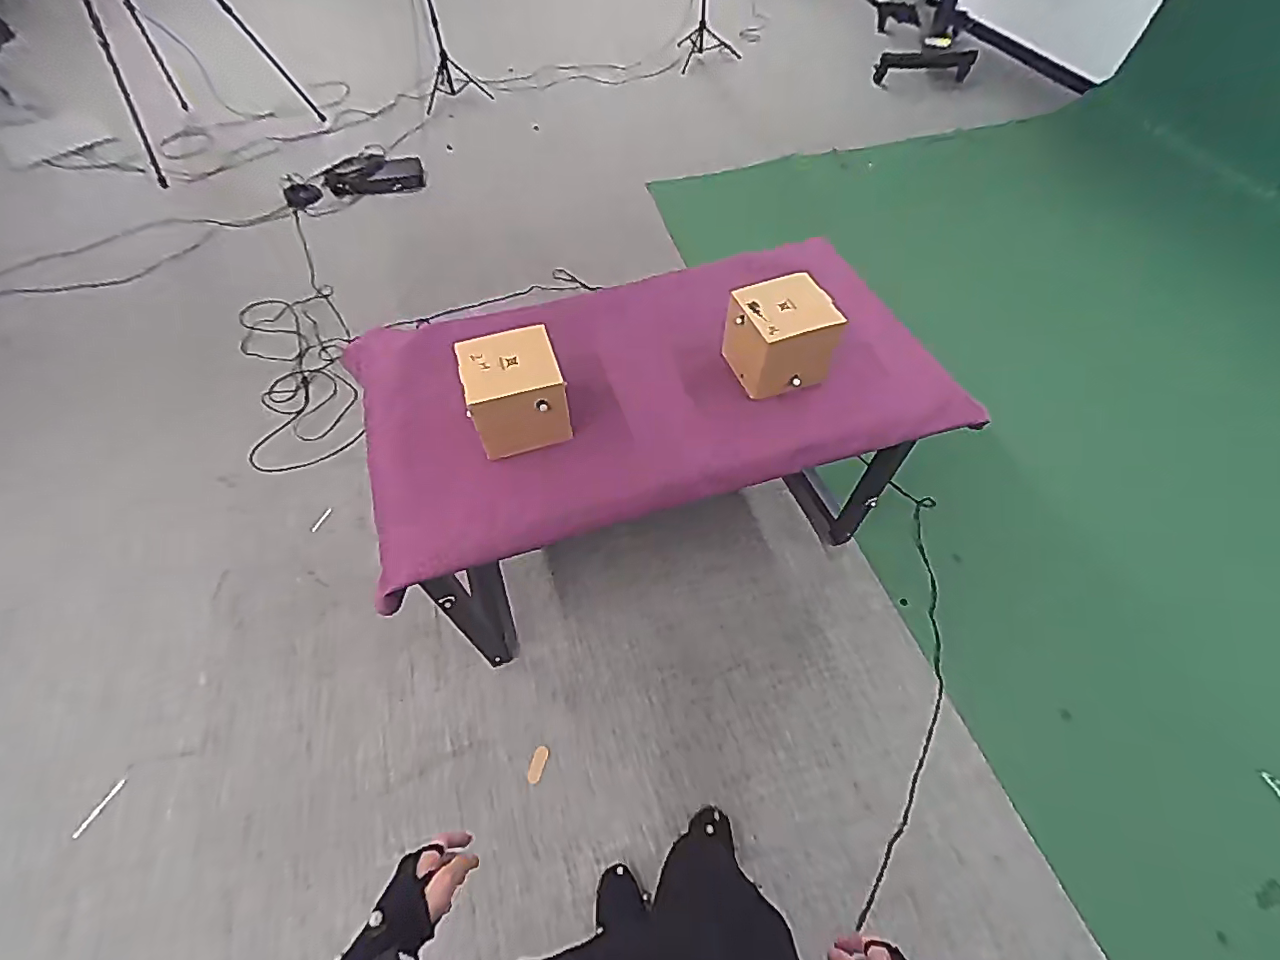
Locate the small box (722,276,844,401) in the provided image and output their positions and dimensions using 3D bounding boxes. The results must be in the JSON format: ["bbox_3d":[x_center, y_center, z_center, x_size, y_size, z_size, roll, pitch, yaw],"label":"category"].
[{"bbox_3d":[0.290,-0.295,1.140,0.179,0.176,0.168,-17,58,-10],"label":"small box"}]

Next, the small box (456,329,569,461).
[{"bbox_3d":[-0.243,-0.163,1.063,0.179,0.176,0.168,-16,57,-9],"label":"small box"}]
